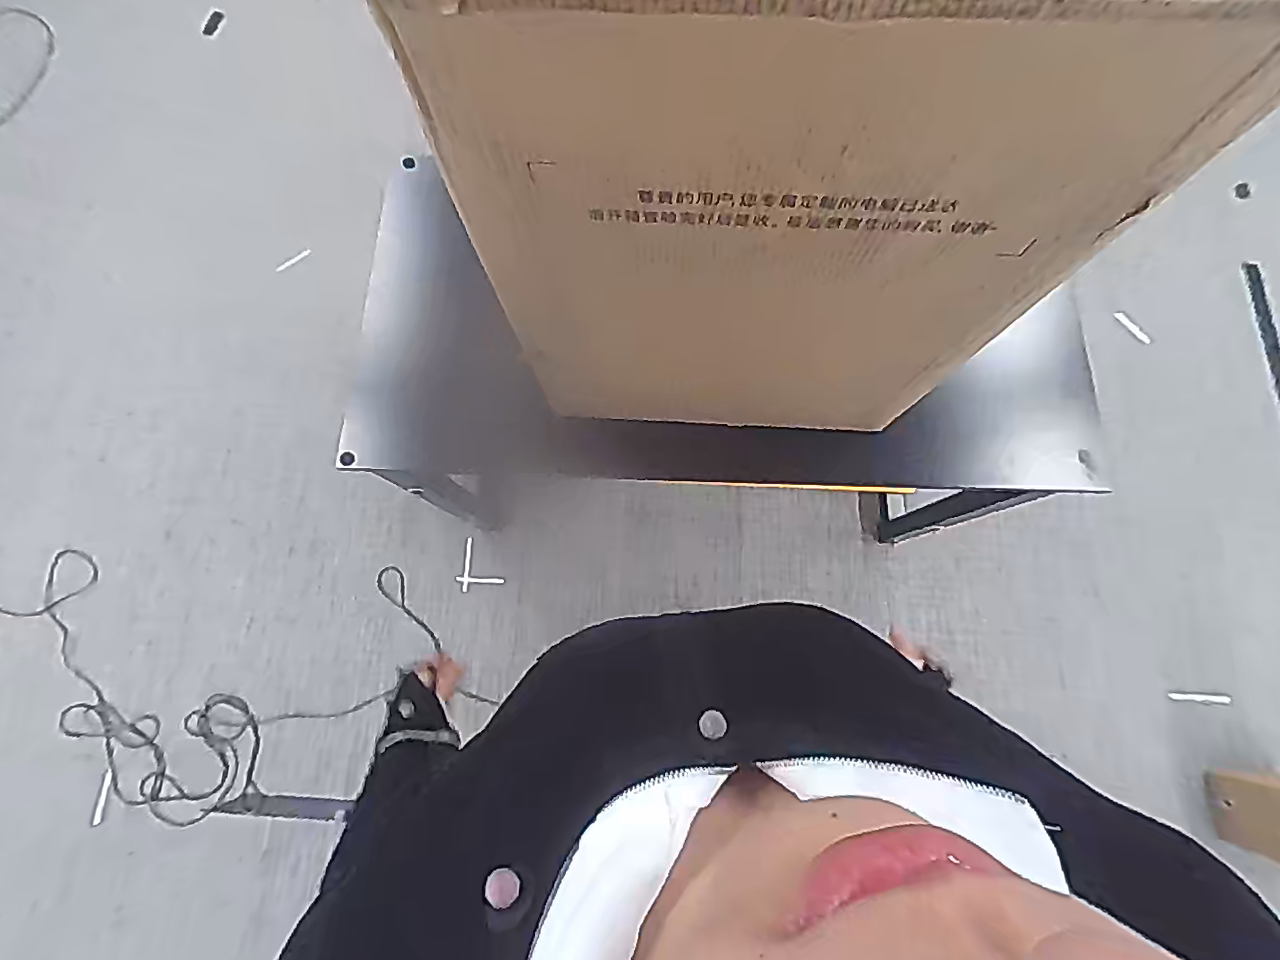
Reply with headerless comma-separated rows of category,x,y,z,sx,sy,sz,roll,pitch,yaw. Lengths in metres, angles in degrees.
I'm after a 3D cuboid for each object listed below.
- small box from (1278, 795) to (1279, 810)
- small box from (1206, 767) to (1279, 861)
small box,1.511,0.756,1.127,0.179,0.176,0.168,2,75,2
small box,1.531,0.795,1.287,0.179,0.176,0.168,1,75,2
